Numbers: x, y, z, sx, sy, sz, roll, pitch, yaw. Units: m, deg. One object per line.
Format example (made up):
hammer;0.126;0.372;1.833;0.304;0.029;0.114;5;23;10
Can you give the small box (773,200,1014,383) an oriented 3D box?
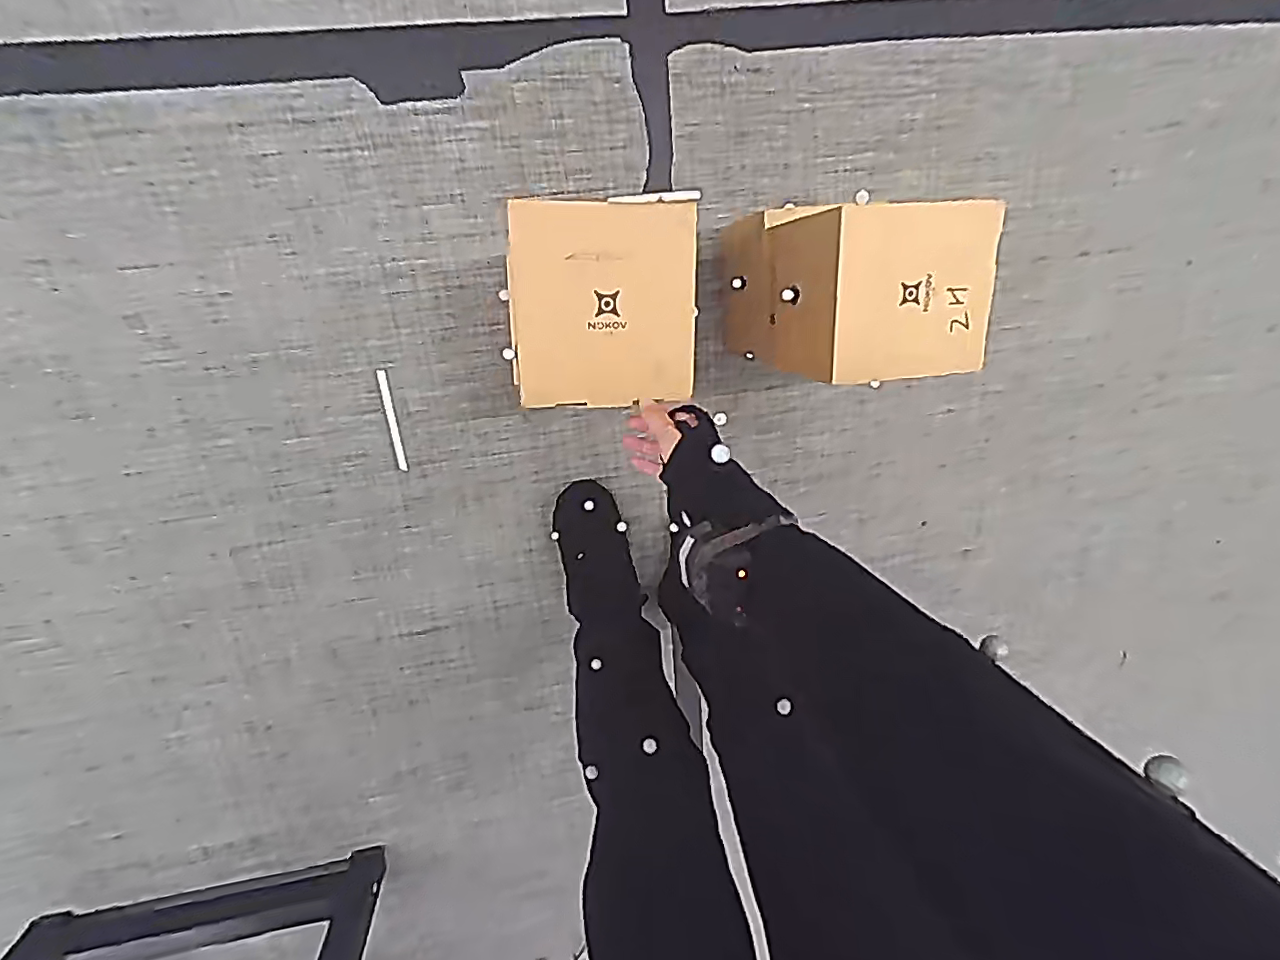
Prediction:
small box;0.261;-0.205;0.600;0.179;0.176;0.168;-7;110;-10

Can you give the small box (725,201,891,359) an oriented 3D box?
small box;0.223;-0.272;0.747;0.168;0.176;0.179;-9;109;-9

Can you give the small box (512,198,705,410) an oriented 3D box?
small box;-0.039;-0.176;0.554;0.168;0.176;0.179;-5;108;-12
